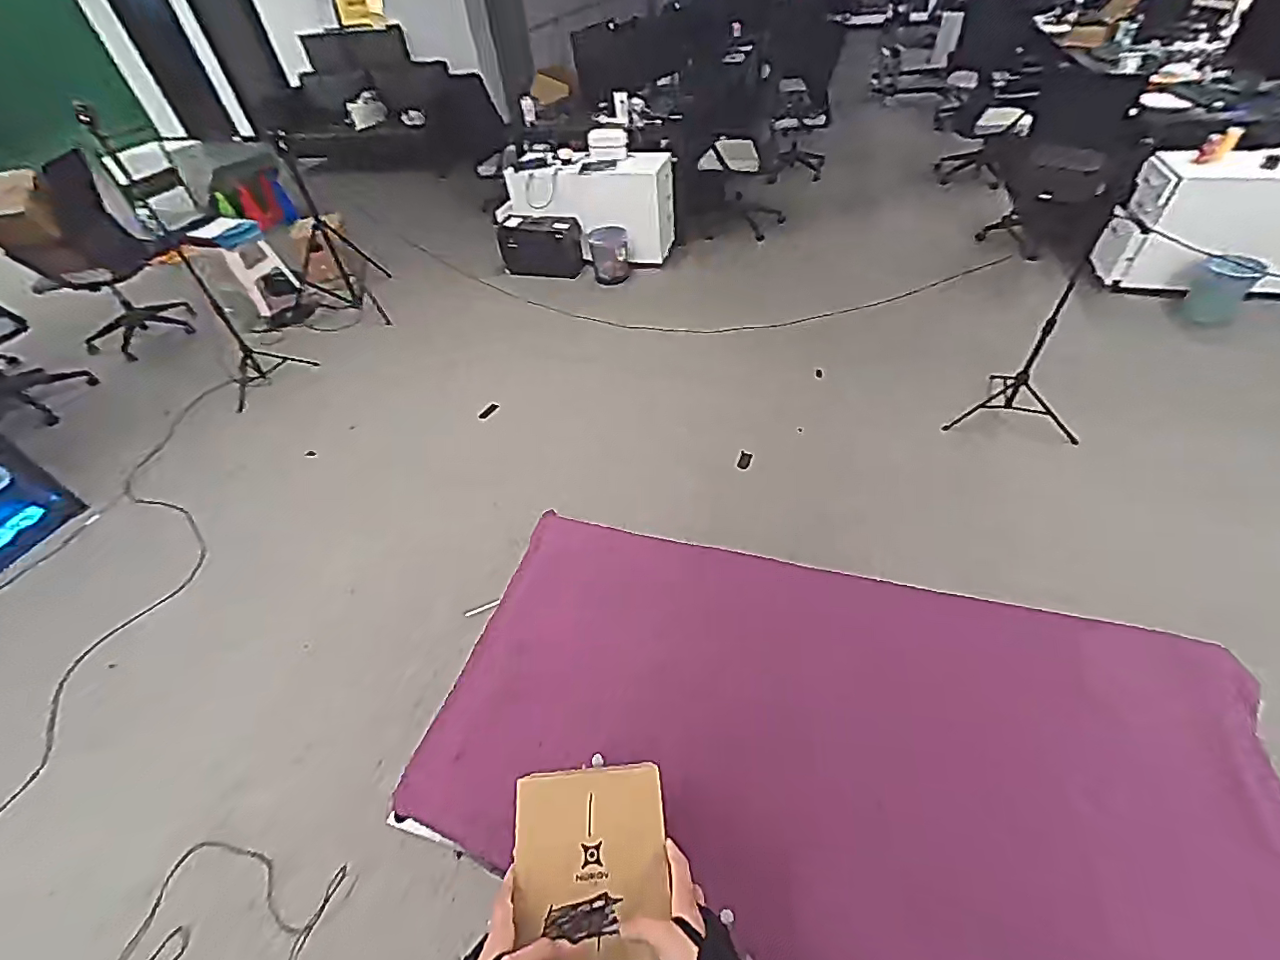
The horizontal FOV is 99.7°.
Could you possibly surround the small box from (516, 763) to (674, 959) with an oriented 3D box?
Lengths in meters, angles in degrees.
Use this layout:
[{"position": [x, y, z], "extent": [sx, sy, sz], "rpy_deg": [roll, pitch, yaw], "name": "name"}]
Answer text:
[{"position": [-0.050, 0.449, 0.656], "extent": [0.168, 0.176, 0.179], "rpy_deg": [-3, 63, -3], "name": "small box"}]
